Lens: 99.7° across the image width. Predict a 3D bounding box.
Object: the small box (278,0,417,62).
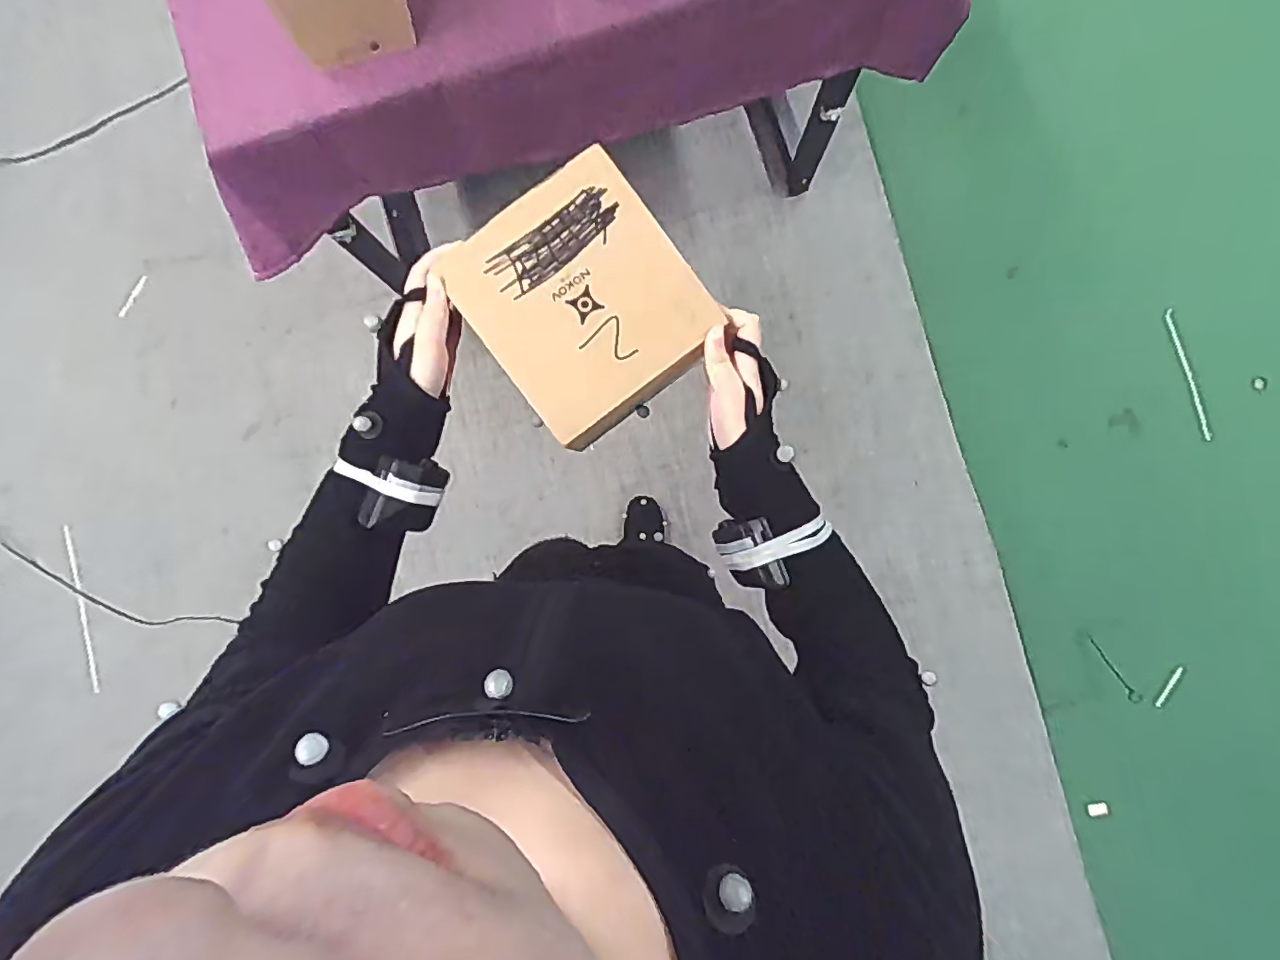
[{"bbox_3d":[-0.443,-0.753,0.765,0.168,0.176,0.179,-14,85,1],"label":"small box"}]
